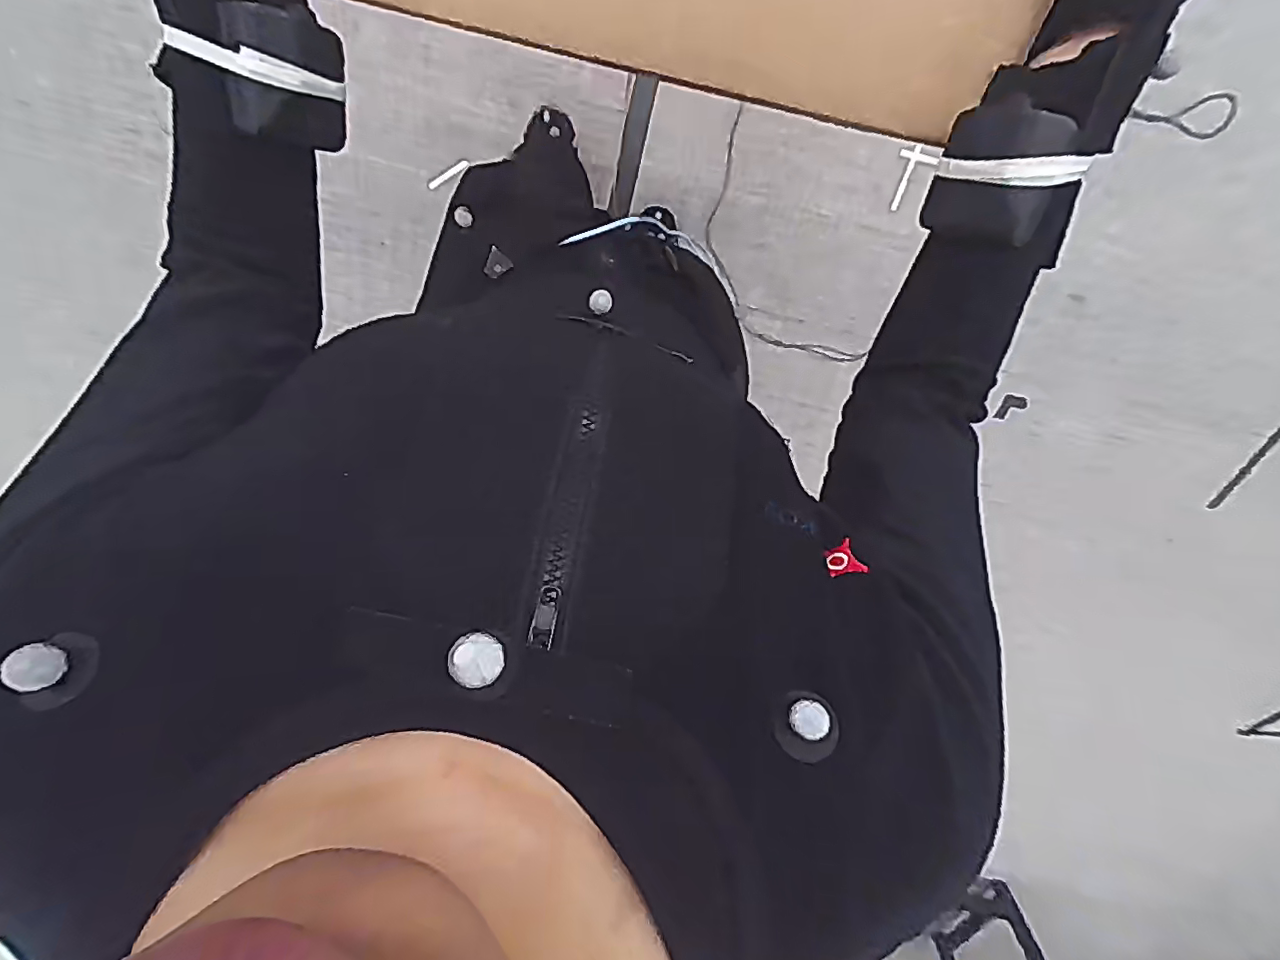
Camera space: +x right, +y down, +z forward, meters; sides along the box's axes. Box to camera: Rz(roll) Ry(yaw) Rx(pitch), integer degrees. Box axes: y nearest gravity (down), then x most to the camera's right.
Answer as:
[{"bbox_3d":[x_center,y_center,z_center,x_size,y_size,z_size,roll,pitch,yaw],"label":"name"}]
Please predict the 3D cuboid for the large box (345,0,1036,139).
[{"bbox_3d":[0.045,-0.452,0.351,0.408,0.320,0.320,11,128,-4],"label":"large box"}]
